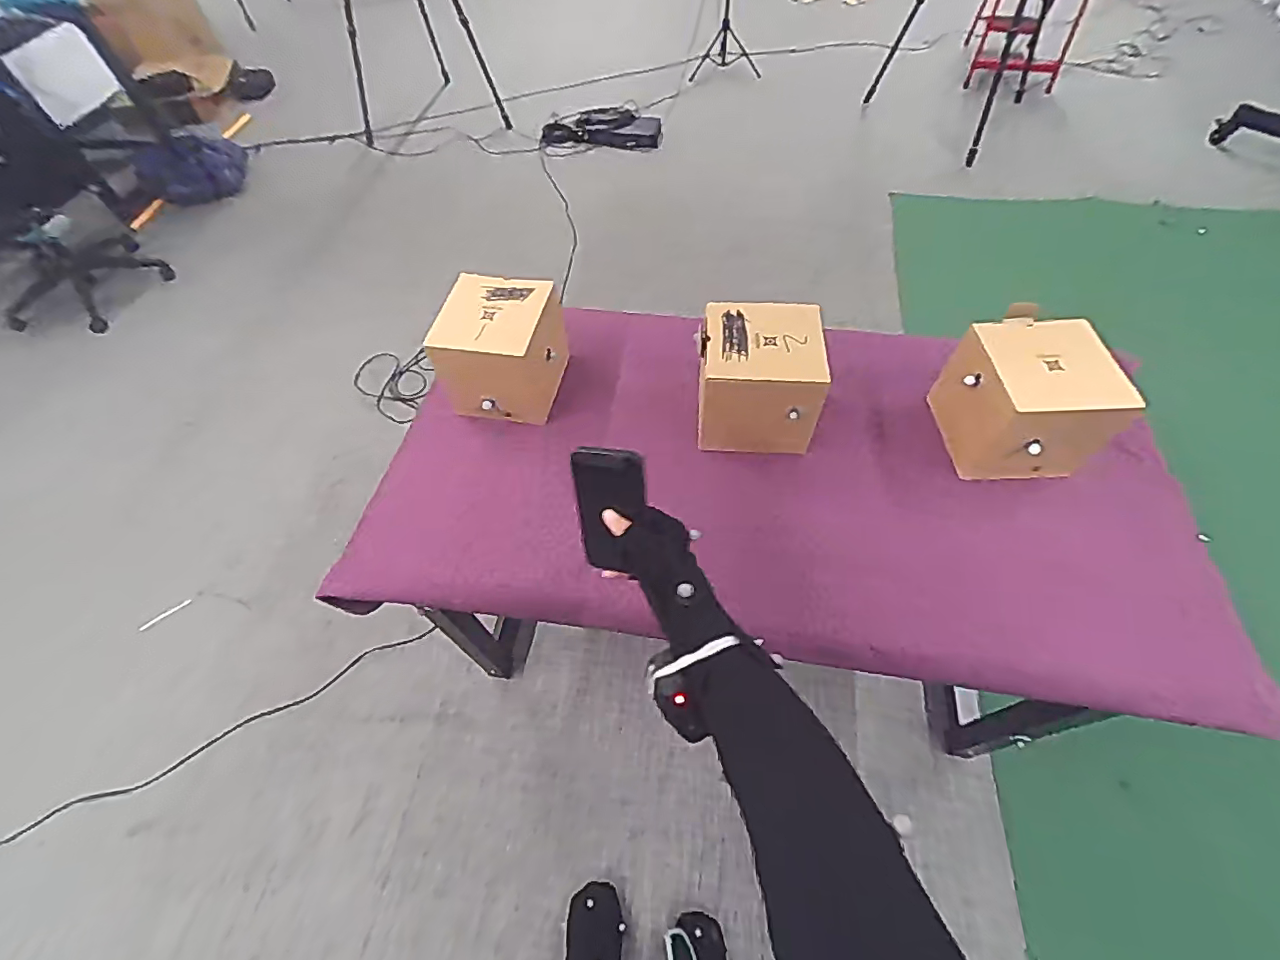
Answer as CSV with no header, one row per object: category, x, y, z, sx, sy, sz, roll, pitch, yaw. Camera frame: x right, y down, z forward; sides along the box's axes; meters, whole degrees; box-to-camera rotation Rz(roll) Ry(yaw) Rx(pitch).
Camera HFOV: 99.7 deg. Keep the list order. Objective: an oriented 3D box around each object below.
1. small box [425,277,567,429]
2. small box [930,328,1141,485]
small box,-0.228,-0.213,0.917,0.168,0.176,0.179,8,58,8
small box,0.571,-0.103,0.812,0.168,0.176,0.179,-2,55,2
